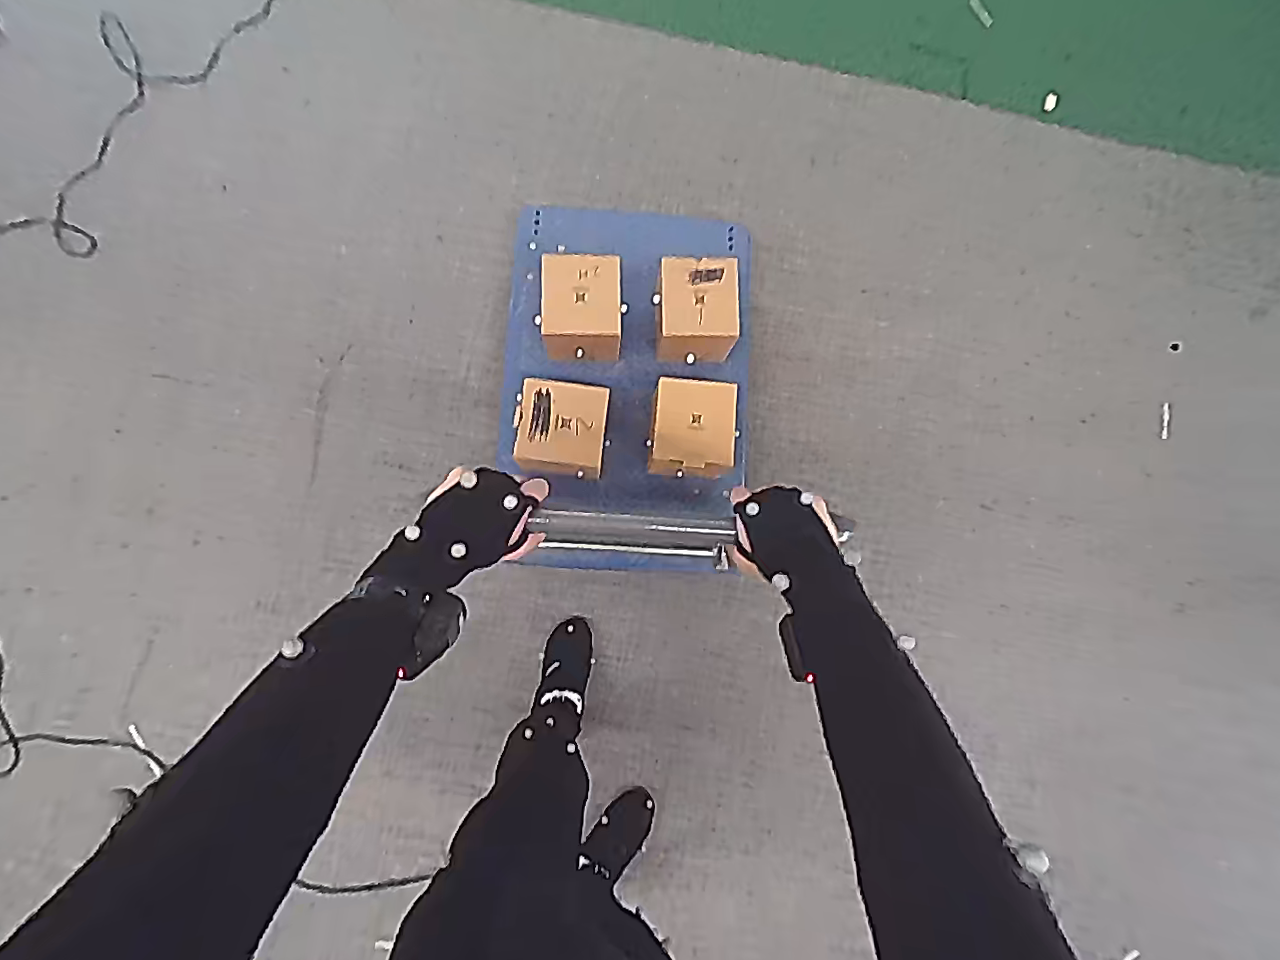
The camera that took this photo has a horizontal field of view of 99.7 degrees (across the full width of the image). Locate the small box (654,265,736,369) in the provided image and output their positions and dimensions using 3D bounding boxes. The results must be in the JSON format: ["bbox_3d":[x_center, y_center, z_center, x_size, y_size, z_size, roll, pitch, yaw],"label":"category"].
[{"bbox_3d":[0.121,-0.370,1.246,0.168,0.176,0.179,0,83,-3],"label":"small box"}]

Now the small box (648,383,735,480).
[{"bbox_3d":[0.108,-0.103,1.208,0.168,0.176,0.179,4,82,-3],"label":"small box"}]

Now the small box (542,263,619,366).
[{"bbox_3d":[-0.130,-0.367,1.229,0.168,0.176,0.179,0,82,-5],"label":"small box"}]
